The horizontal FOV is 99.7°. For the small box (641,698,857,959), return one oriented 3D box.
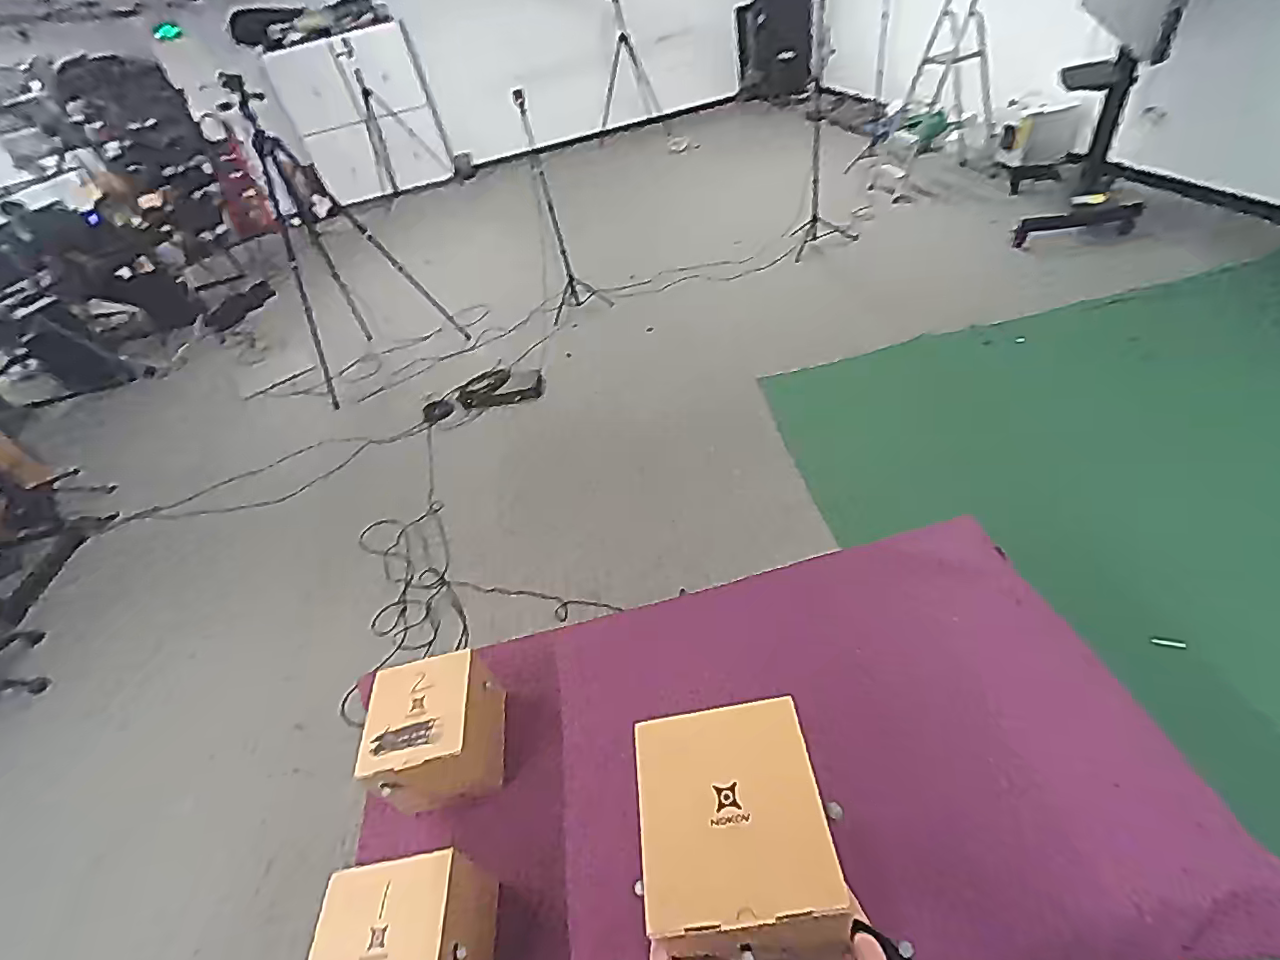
[{"bbox_3d":[0.102,0.349,0.541,0.168,0.176,0.179,-13,43,6],"label":"small box"}]

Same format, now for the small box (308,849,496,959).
[{"bbox_3d":[-0.293,0.602,0.683,0.168,0.176,0.179,-12,41,2],"label":"small box"}]
